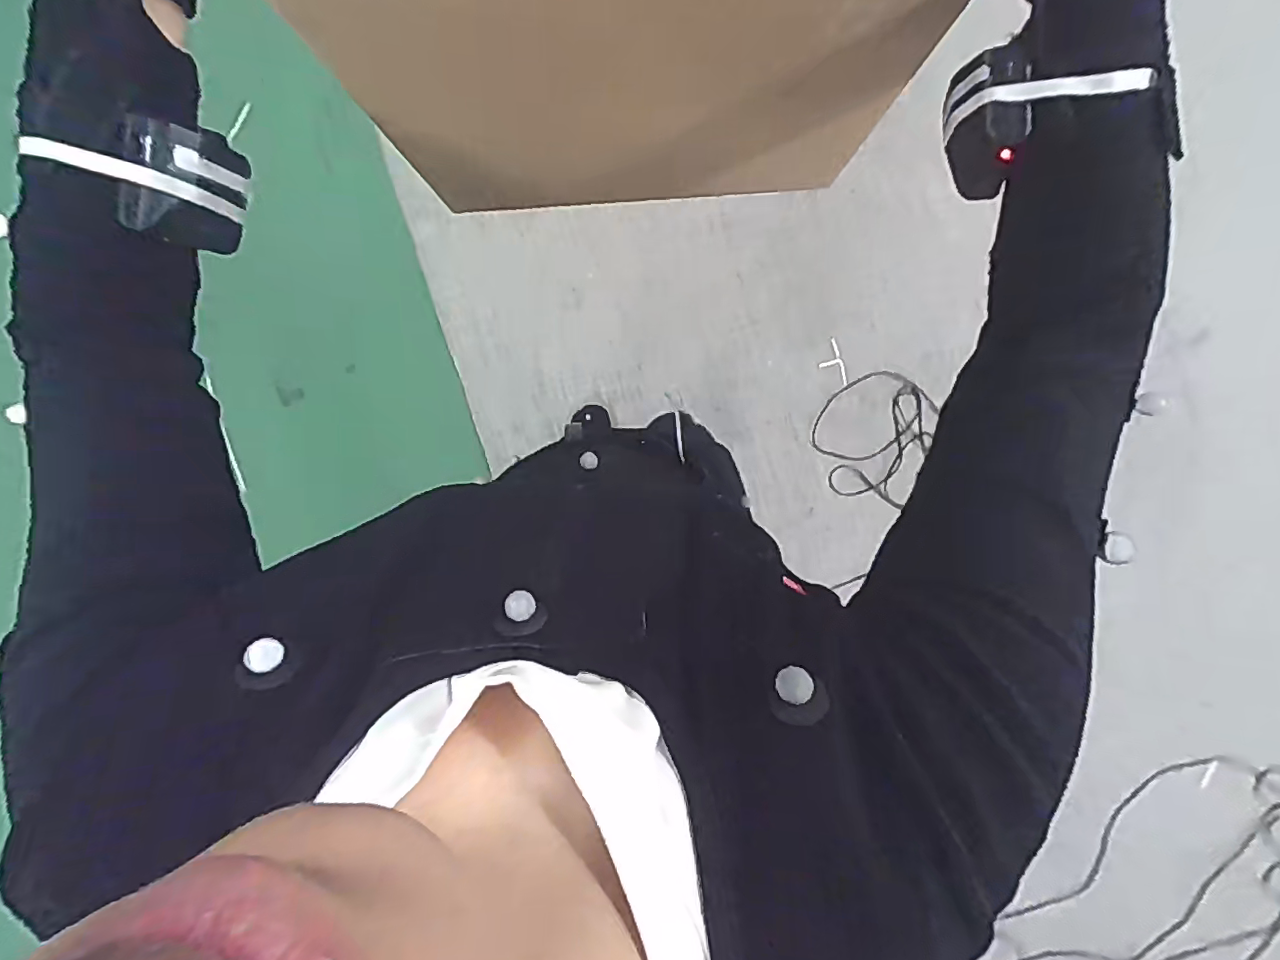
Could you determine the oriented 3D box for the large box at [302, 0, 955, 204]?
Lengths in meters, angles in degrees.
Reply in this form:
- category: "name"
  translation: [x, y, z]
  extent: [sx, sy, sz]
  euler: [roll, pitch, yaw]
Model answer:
- category: "large box"
  translation: [-0.008, -0.440, 0.410]
  extent: [0.408, 0.320, 0.320]
  euler: [-3, 96, 0]
